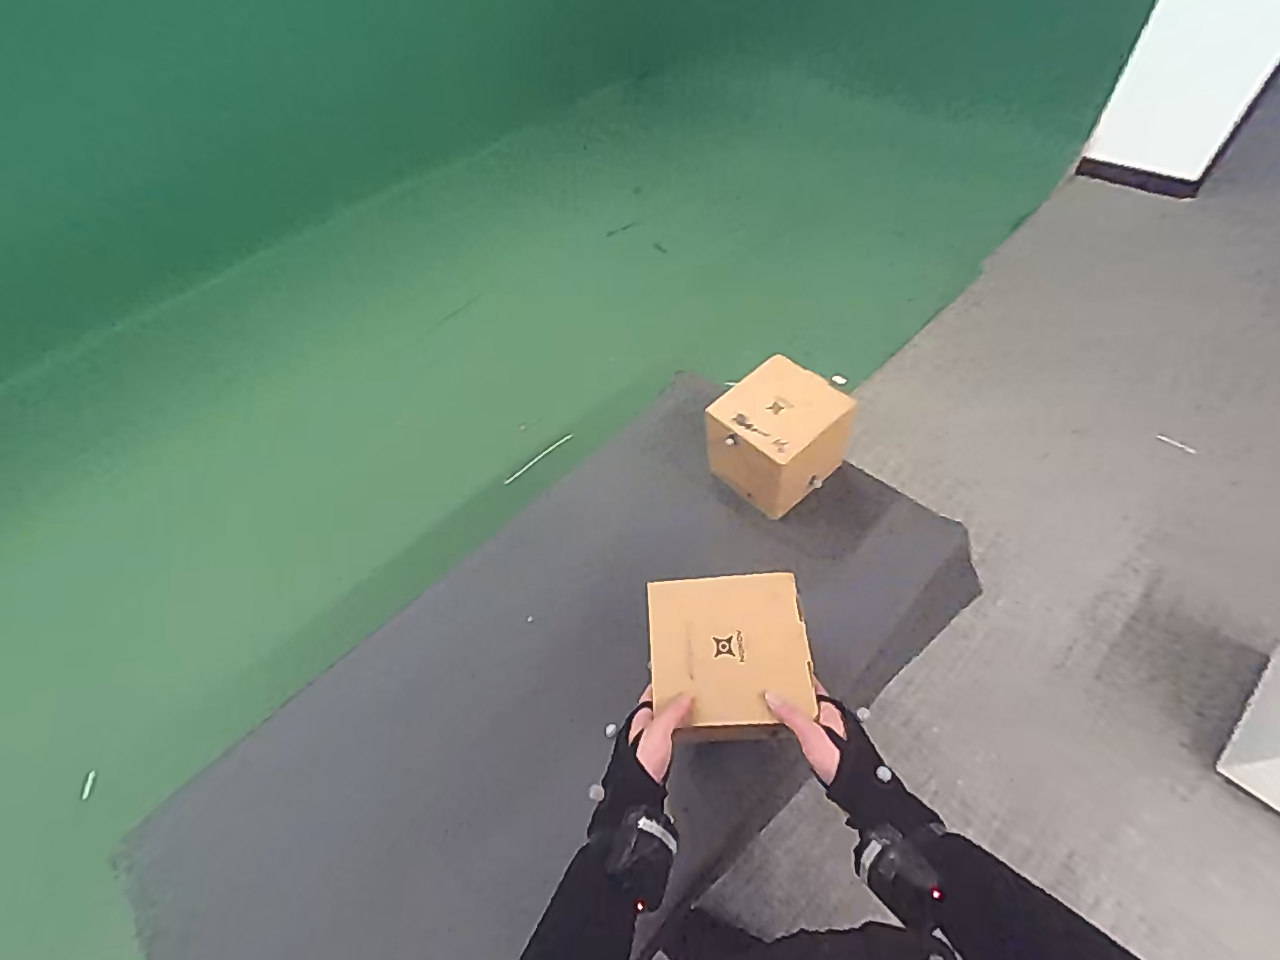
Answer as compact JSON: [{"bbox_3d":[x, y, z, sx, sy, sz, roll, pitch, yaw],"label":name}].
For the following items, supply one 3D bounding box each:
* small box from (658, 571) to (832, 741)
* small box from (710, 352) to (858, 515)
[{"bbox_3d":[0.117,0.222,0.664,0.179,0.176,0.168,-5,59,5],"label":"small box"},{"bbox_3d":[0.232,-0.076,0.919,0.179,0.176,0.168,-37,59,-17],"label":"small box"}]
